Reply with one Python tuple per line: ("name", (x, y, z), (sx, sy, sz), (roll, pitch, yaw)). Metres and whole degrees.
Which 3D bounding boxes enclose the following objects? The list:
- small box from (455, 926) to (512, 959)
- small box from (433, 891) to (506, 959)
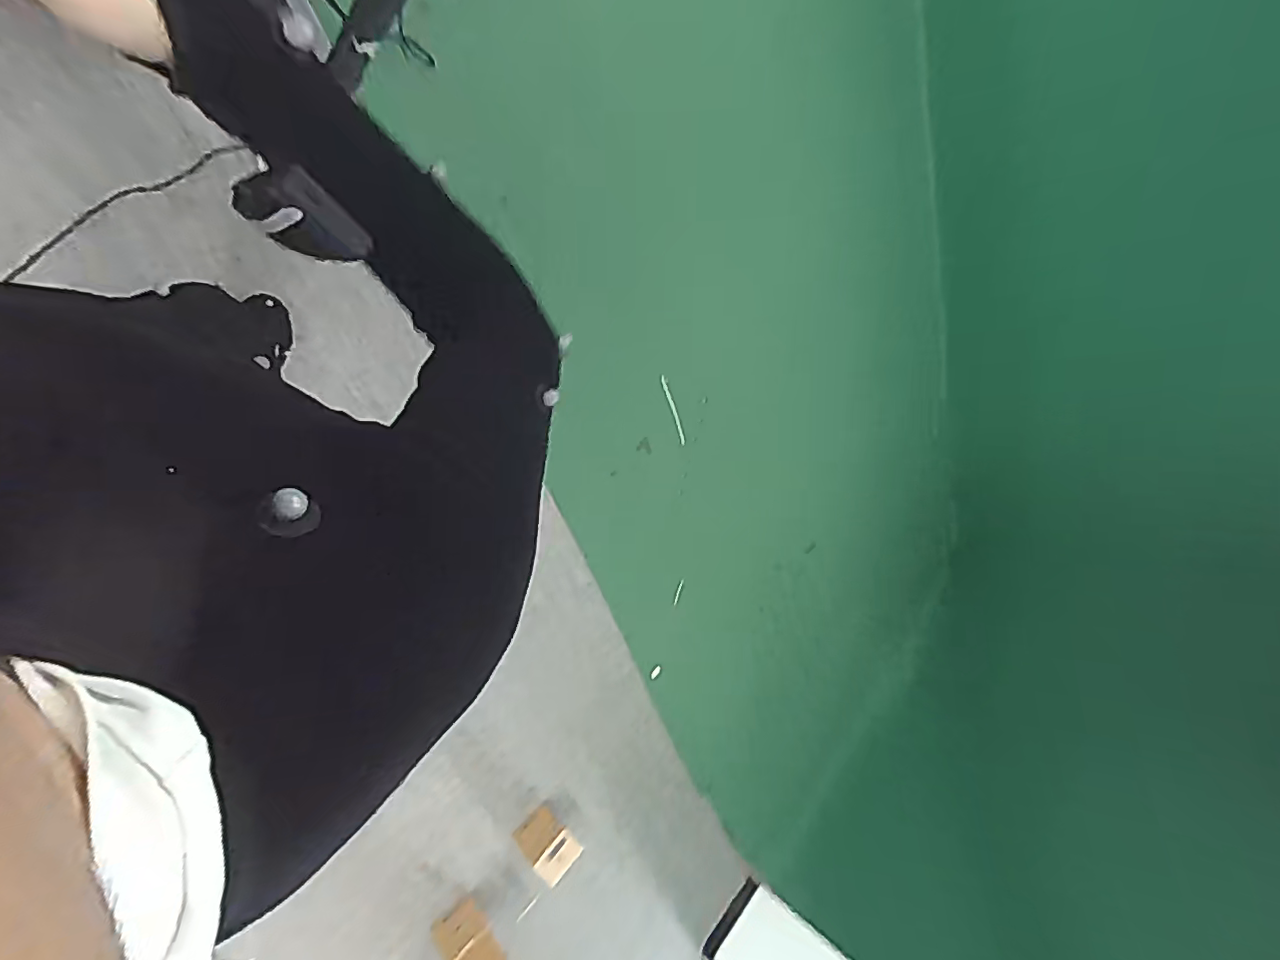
("small box", (-0.514, 1.664, 1.805), (0.179, 0.176, 0.168), (-32, 119, -31))
("small box", (-0.613, 1.625, 1.929), (0.168, 0.176, 0.179), (-30, 116, -31))
